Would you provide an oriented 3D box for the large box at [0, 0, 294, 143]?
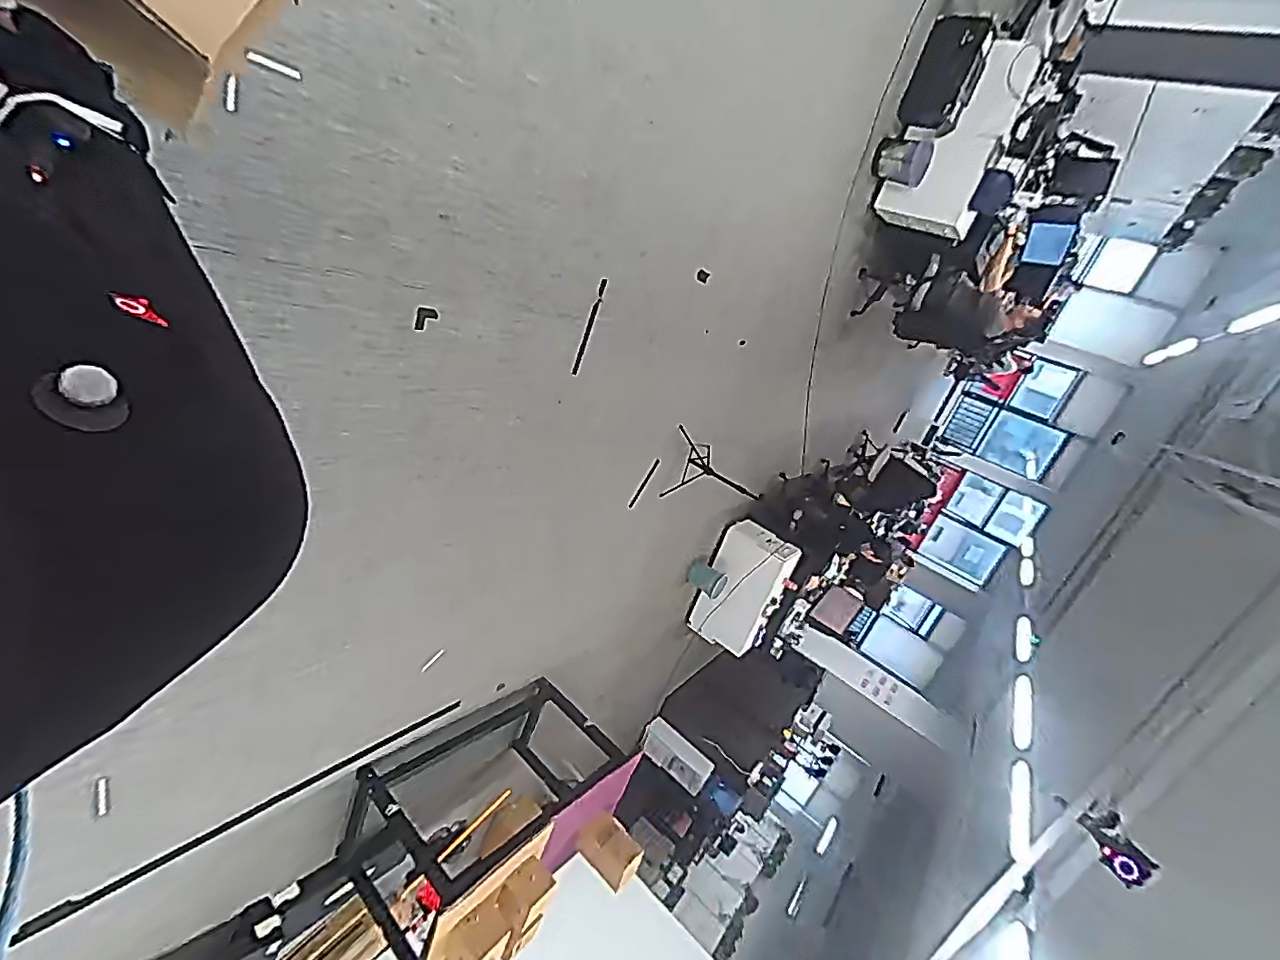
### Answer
[{"bbox_3d":[-0.471,-0.566,0.461,0.320,0.408,0.320,39,81,-44],"label":"large box"}]
